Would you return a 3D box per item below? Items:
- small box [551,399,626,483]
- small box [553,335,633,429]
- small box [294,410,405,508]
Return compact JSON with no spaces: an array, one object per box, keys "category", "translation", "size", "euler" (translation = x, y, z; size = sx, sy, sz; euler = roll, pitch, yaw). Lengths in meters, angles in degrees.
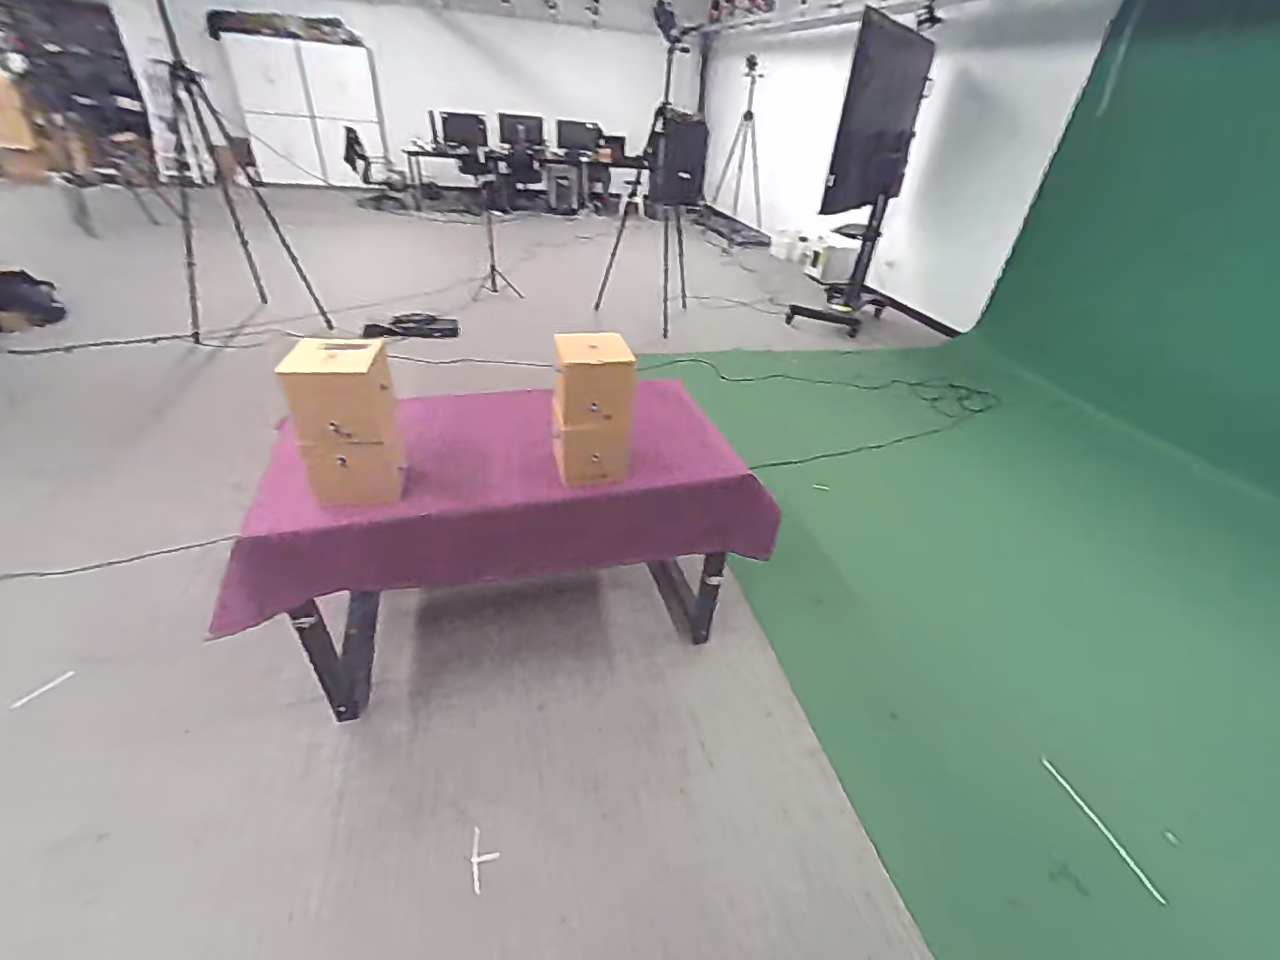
[{"category":"small box","translation":[-0.136,-0.102,1.396],"size":[0.168,0.176,0.179],"euler":[-6,36,-15]},{"category":"small box","translation":[-0.121,-0.240,1.310],"size":[0.168,0.176,0.179],"euler":[-6,38,-15]},{"category":"small box","translation":[-0.662,-0.049,1.255],"size":[0.179,0.176,0.168],"euler":[-4,36,-14]}]
